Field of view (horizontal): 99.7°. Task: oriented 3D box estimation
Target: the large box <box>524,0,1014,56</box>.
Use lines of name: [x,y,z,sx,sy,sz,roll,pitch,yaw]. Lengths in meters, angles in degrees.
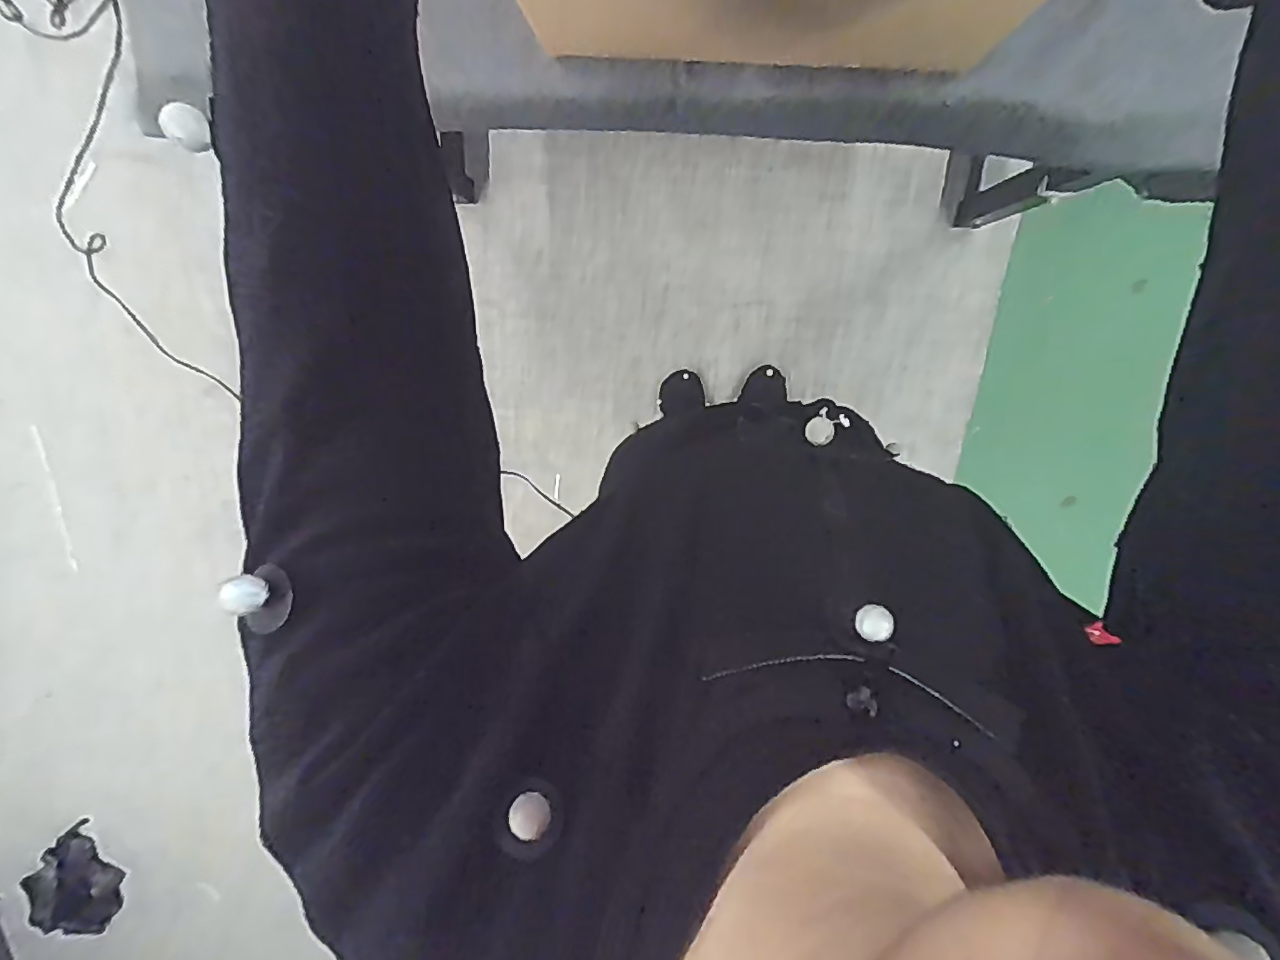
large box: [0.098,-0.510,0.334,0.408,0.320,0.320,4,108,4]
